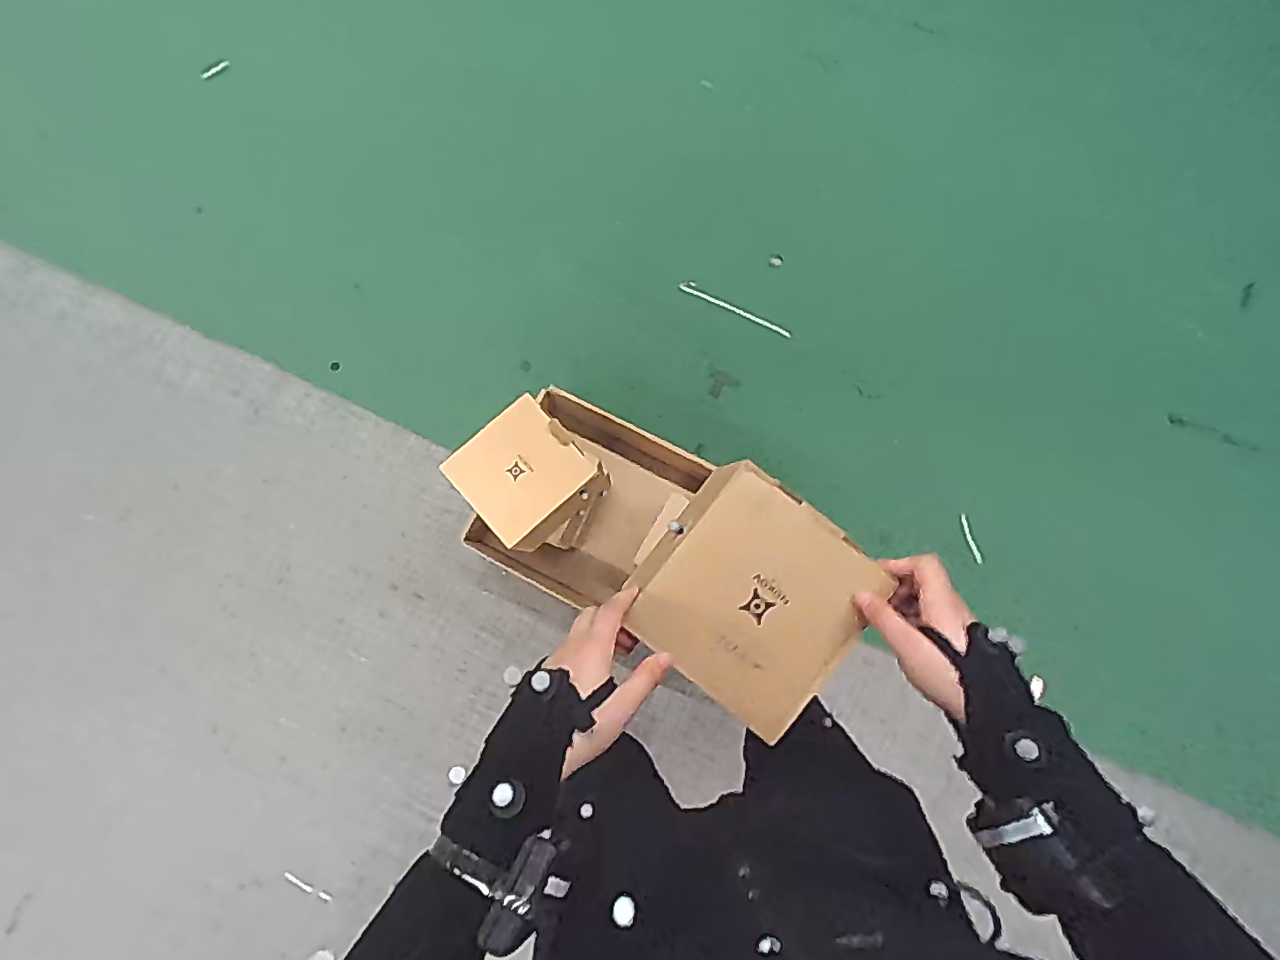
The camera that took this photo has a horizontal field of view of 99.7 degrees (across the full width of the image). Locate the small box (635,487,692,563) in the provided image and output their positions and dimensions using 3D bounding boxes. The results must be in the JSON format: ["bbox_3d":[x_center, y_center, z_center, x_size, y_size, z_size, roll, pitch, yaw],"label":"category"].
[{"bbox_3d":[0.098,0.139,1.184,0.168,0.176,0.179,31,82,5],"label":"small box"}]

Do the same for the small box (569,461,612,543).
[{"bbox_3d":[-0.172,0.026,1.195,0.168,0.176,0.179,25,81,3],"label":"small box"}]

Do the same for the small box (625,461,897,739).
[{"bbox_3d":[0.099,0.099,0.528,0.168,0.176,0.179,39,90,0],"label":"small box"}]

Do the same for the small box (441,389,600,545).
[{"bbox_3d":[-0.178,-0.009,0.871,0.179,0.176,0.168,-41,84,-7],"label":"small box"}]

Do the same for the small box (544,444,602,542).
[{"bbox_3d":[-0.179,0.008,1.033,0.168,0.176,0.179,26,81,2],"label":"small box"}]
